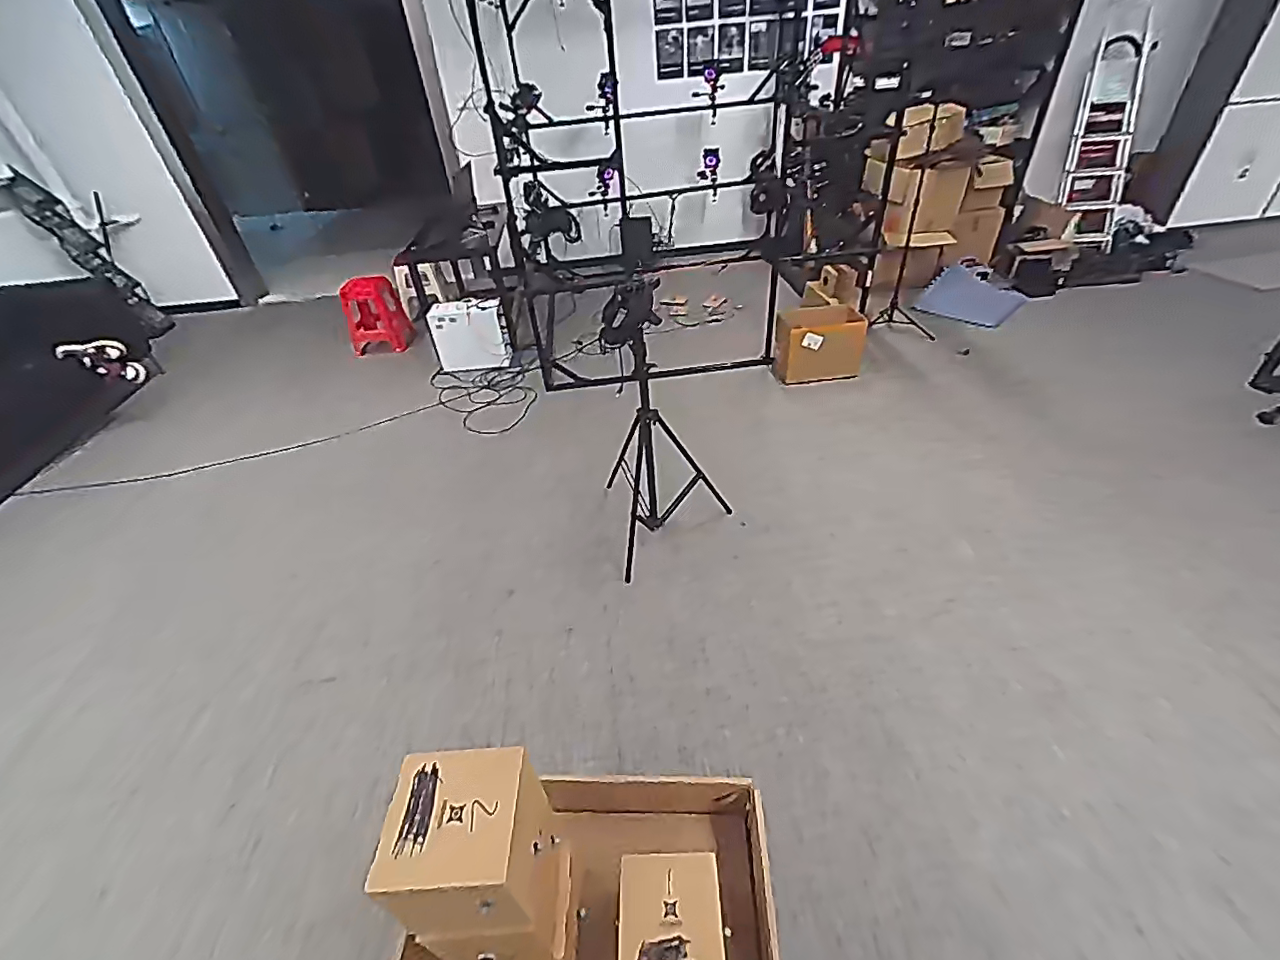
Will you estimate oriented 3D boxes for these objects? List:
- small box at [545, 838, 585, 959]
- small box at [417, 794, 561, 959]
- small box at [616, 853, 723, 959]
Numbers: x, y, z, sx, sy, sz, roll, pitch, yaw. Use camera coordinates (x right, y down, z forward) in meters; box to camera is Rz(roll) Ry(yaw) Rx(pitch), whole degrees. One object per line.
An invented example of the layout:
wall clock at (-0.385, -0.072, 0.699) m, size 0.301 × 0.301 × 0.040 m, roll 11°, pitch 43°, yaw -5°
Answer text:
small box at (-0.200, 0.755, 0.950) m, size 0.179 × 0.176 × 0.168 m, roll -3°, pitch 39°, yaw 2°
small box at (-0.222, 0.627, 0.850) m, size 0.168 × 0.176 × 0.179 m, roll -5°, pitch 38°, yaw 1°
small box at (0.053, 0.760, 0.913) m, size 0.168 × 0.176 × 0.179 m, roll -3°, pitch 38°, yaw 3°
